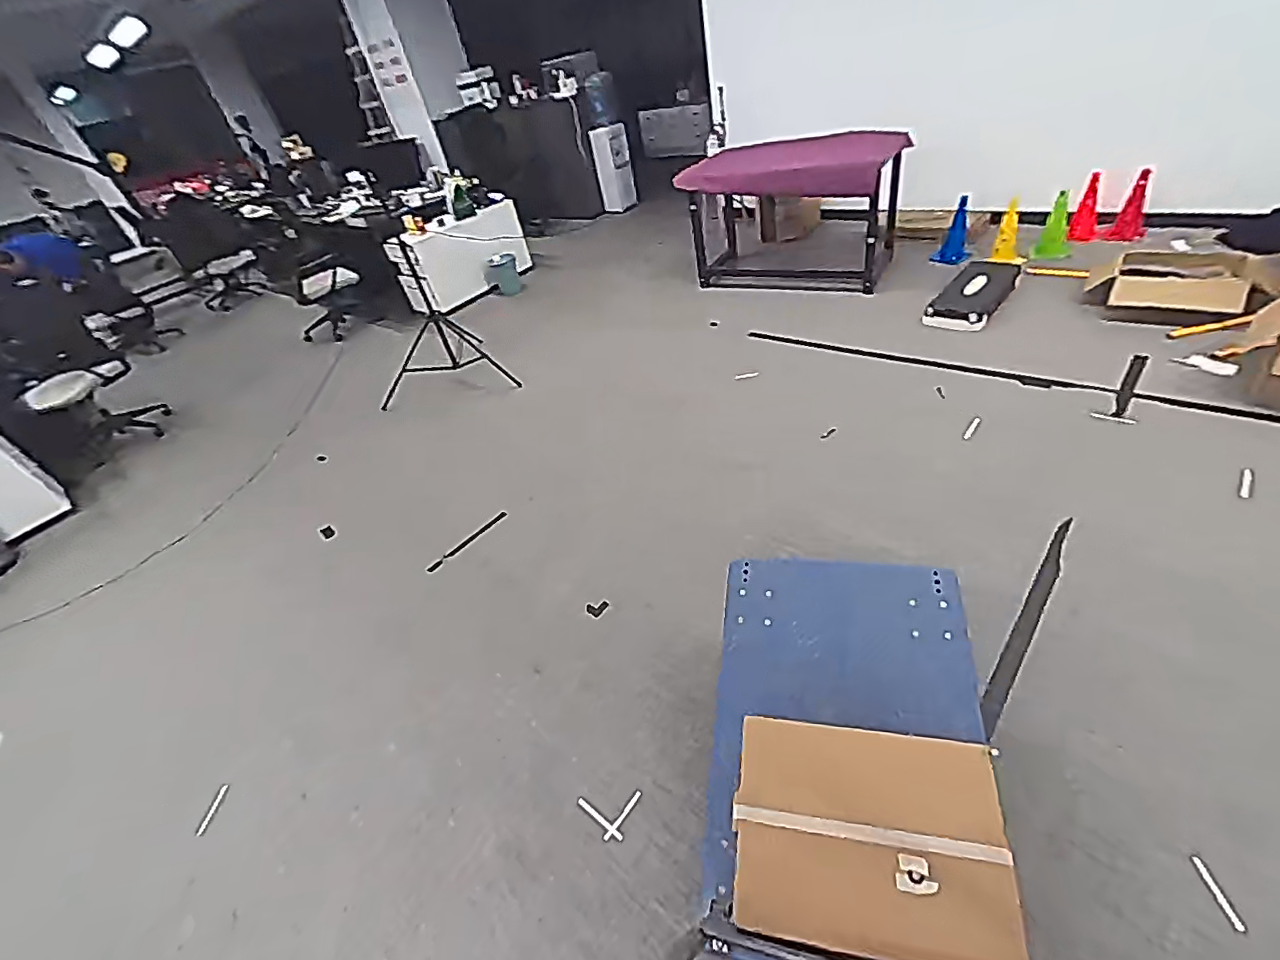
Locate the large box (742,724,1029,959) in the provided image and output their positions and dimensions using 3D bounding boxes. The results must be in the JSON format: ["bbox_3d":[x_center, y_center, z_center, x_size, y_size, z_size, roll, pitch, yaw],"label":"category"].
[{"bbox_3d":[0.399,0.666,0.989,0.408,0.320,0.320,0,54,15],"label":"large box"}]
